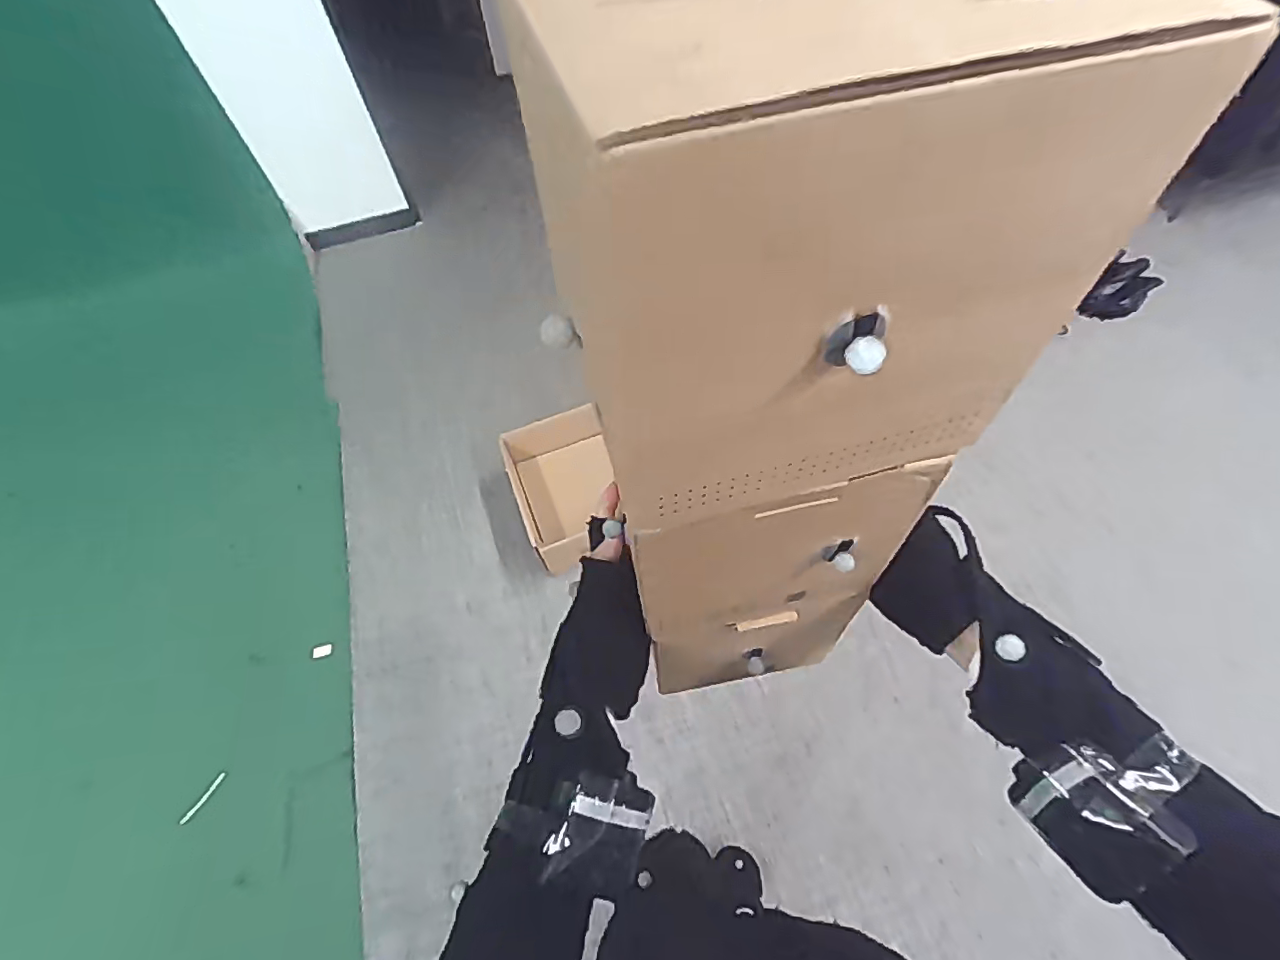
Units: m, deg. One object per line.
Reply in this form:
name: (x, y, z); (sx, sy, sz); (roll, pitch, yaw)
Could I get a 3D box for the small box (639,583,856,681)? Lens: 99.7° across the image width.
small box: (0.076, 0.079, 0.514); (0.168, 0.176, 0.179); (-11, 56, -3)

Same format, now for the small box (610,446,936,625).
small box: (0.061, -0.013, 0.380); (0.168, 0.176, 0.179); (-11, 54, -5)

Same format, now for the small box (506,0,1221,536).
small box: (0.055, -0.100, 0.241); (0.179, 0.176, 0.168); (-16, 56, -10)
